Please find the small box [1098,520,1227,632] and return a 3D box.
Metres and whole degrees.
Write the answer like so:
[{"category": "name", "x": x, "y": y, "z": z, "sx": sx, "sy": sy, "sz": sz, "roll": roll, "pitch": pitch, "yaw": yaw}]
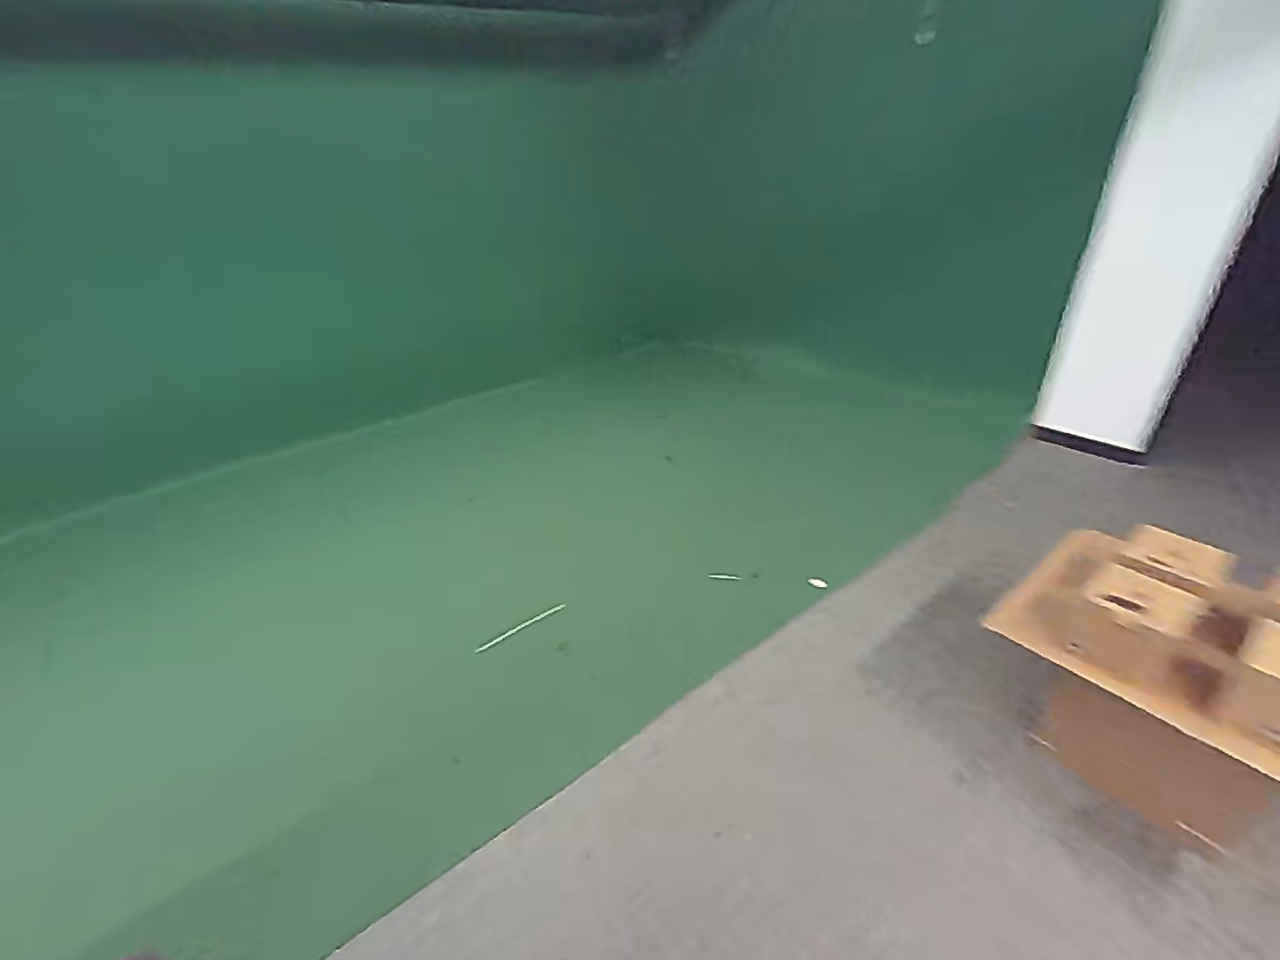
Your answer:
[{"category": "small box", "x": 1.259, "y": 0.230, "z": 1.312, "sx": 0.179, "sy": 0.176, "sz": 0.168, "roll": -25, "pitch": 34, "yaw": -31}]
